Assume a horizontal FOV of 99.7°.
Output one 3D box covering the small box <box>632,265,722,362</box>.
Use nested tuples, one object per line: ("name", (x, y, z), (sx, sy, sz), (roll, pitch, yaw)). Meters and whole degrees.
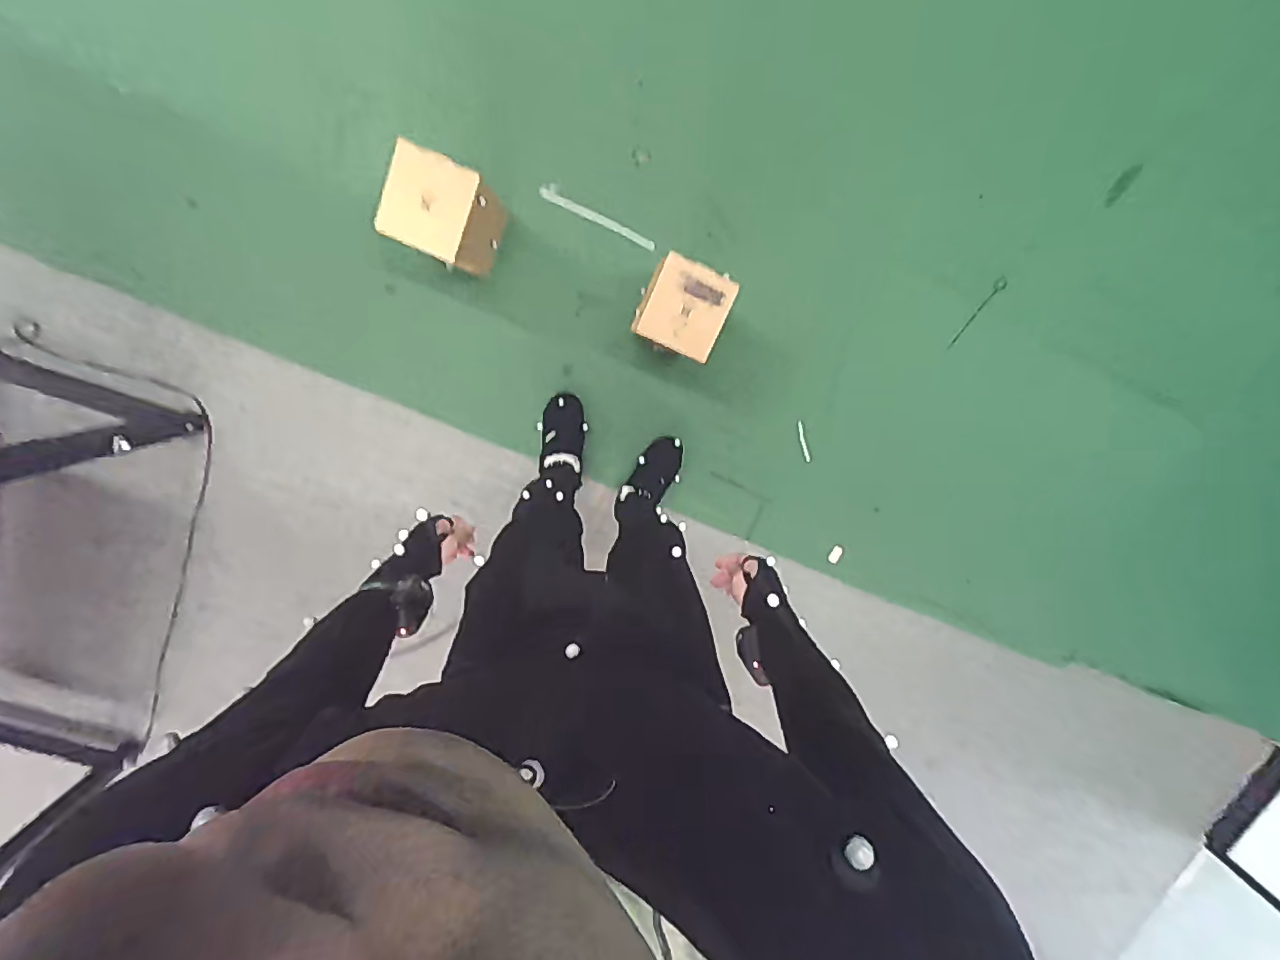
("small box", (0.083, -0.416, 1.367), (0.168, 0.176, 0.179), (24, 103, -9))

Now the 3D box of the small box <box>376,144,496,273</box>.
("small box", (-0.420, -0.557, 1.141), (0.168, 0.176, 0.179), (22, 102, -7))

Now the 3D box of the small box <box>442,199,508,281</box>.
("small box", (-0.429, -0.598, 1.297), (0.168, 0.176, 0.179), (22, 103, -7))
